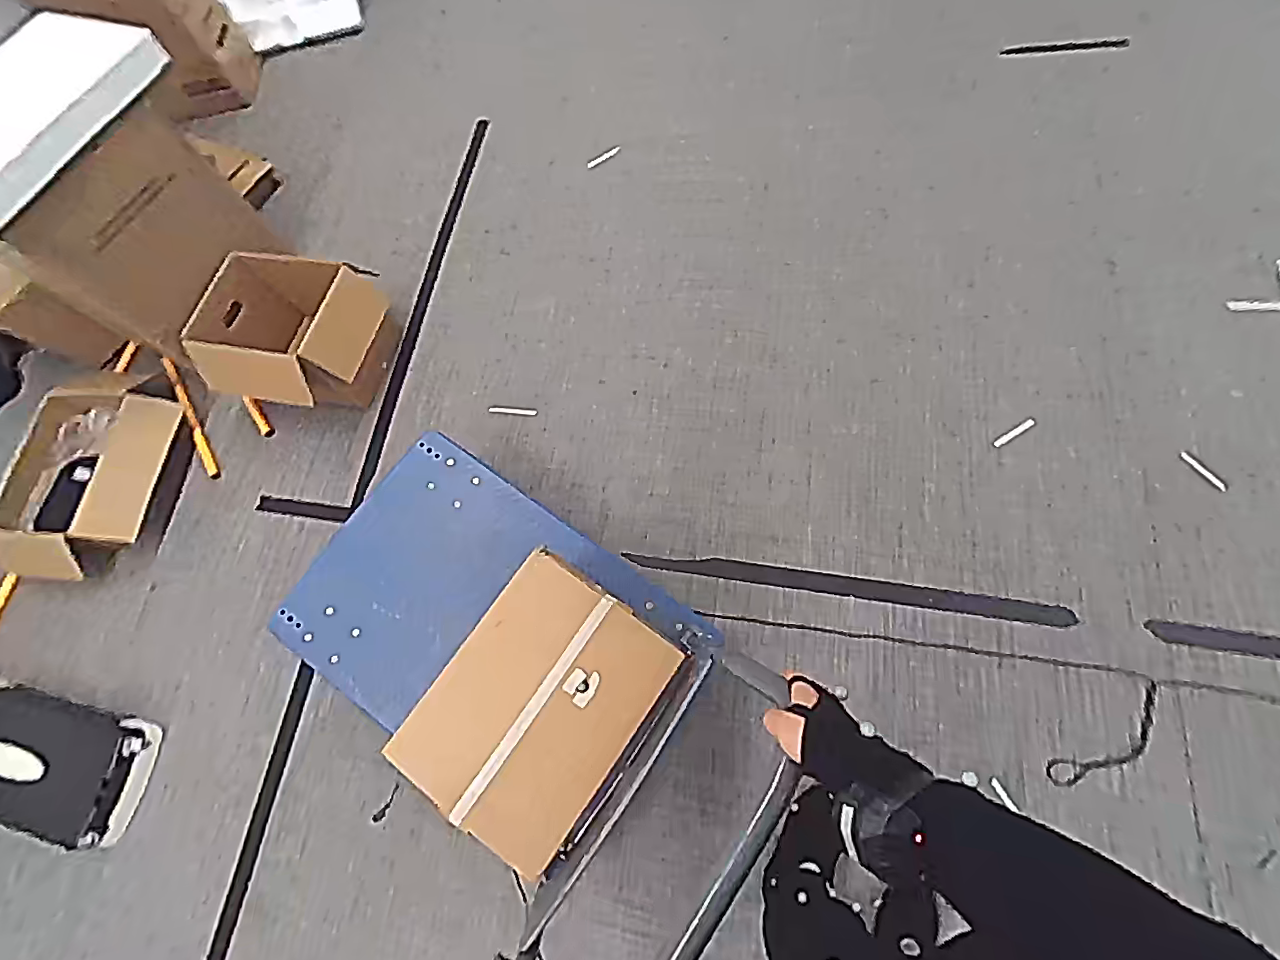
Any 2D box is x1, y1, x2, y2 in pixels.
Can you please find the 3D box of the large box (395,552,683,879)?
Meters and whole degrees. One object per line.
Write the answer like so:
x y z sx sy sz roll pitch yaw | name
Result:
-0.157 0.405 1.019 0.320 0.320 0.408 34 78 9 | large box
